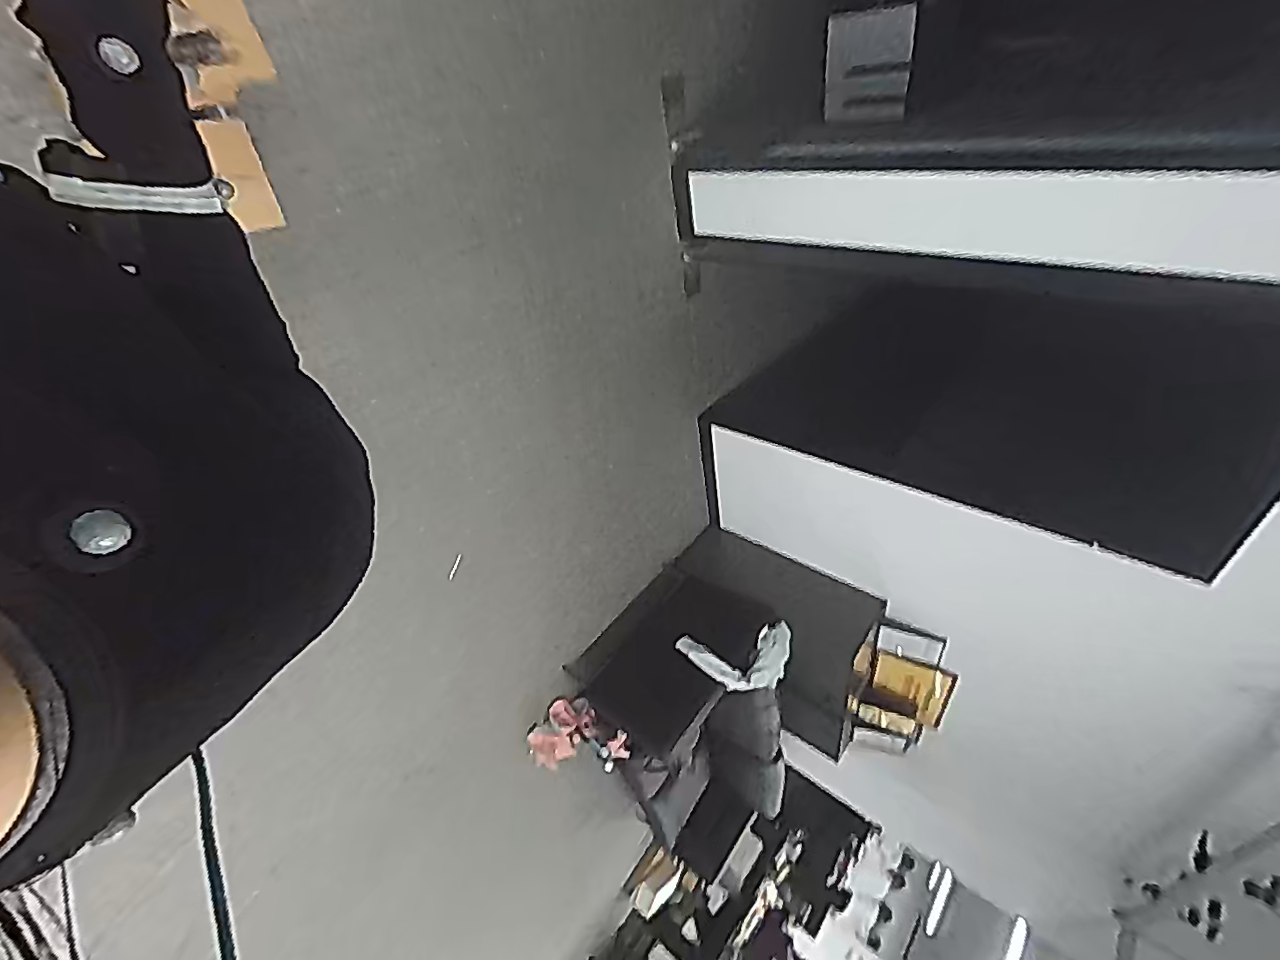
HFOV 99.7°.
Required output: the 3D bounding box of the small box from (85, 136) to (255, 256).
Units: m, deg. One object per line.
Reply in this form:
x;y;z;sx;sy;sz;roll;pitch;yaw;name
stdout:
-0.898;-0.548;1.036;0.179;0.176;0.168;-40;137;-31;small box
